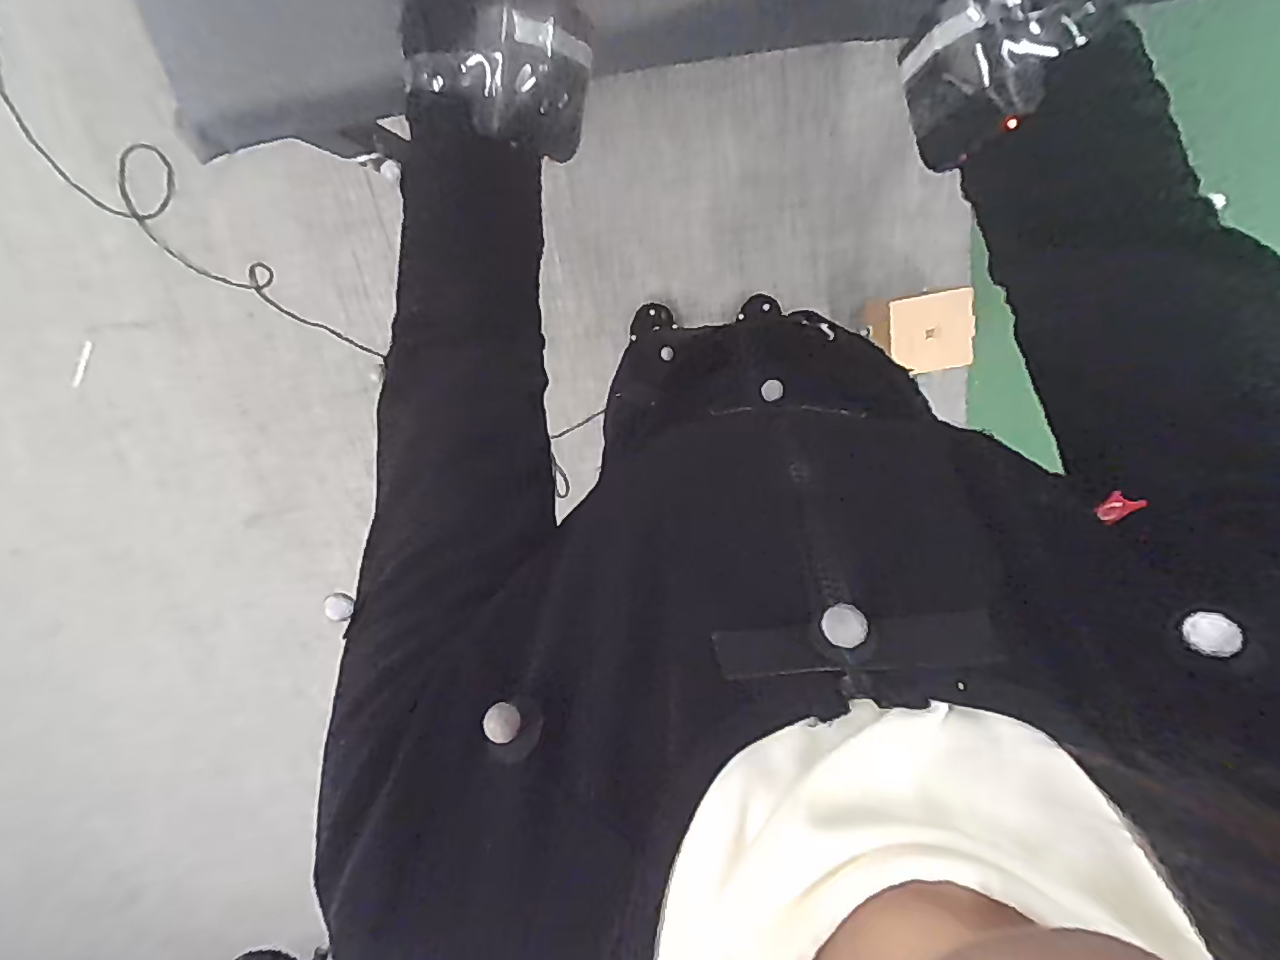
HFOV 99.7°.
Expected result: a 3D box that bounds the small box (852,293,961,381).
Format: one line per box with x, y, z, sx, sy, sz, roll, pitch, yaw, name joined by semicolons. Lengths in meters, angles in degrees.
0.611;-0.335;1.252;0.179;0.176;0.168;-9;108;6;small box
